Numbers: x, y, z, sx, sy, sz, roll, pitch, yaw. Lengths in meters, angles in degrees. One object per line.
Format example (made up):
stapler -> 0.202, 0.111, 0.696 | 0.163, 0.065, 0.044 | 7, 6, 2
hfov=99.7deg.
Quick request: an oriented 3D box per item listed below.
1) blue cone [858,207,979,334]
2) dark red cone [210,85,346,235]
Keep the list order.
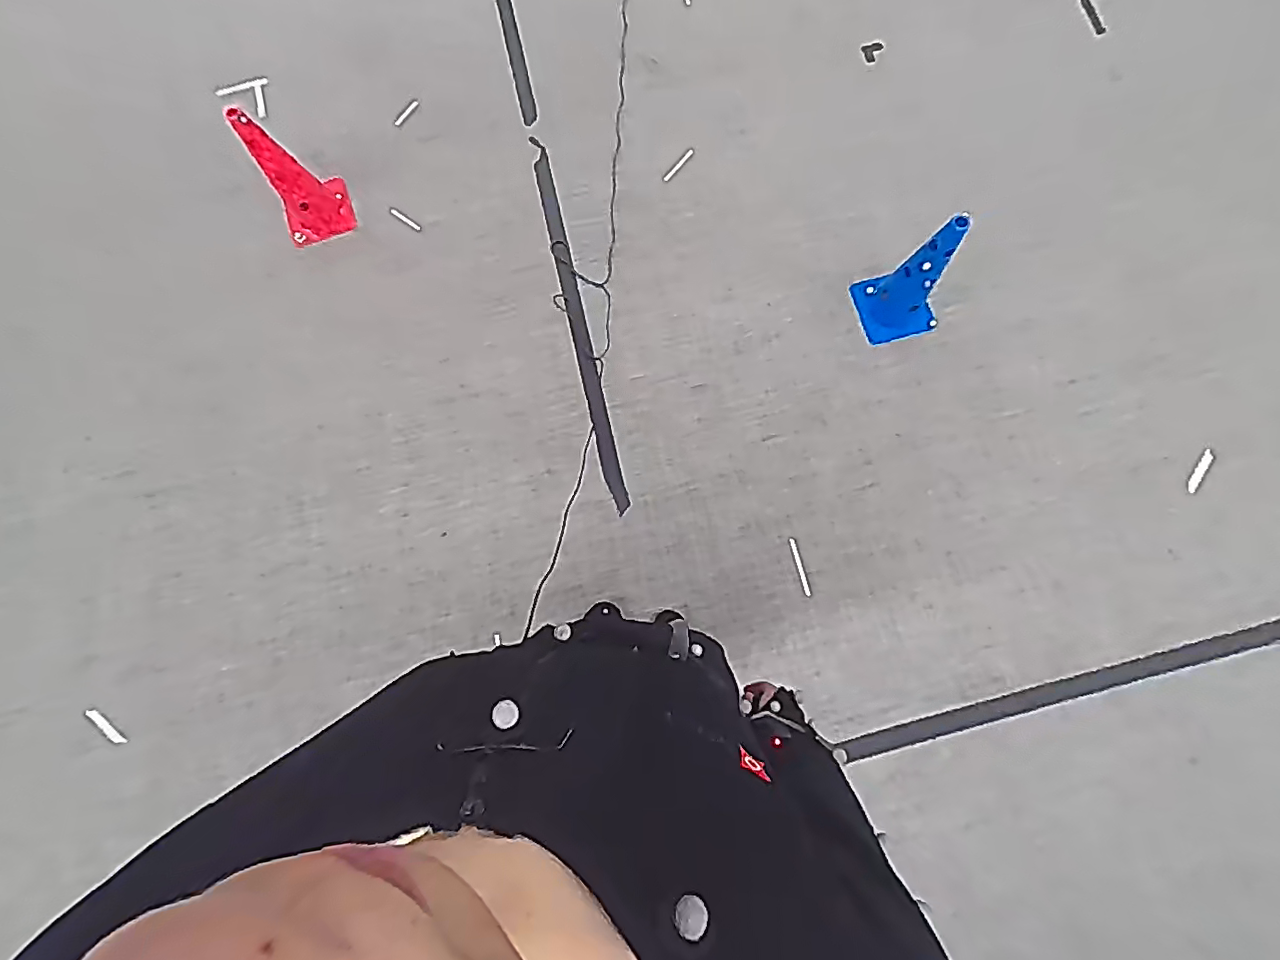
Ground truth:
blue cone -> 0.722, -0.543, 1.369 | 0.192, 0.380, 0.193 | -13, 77, -2
dark red cone -> -1.003, -0.880, 1.474 | 0.201, 0.394, 0.202 | -21, 78, -4
